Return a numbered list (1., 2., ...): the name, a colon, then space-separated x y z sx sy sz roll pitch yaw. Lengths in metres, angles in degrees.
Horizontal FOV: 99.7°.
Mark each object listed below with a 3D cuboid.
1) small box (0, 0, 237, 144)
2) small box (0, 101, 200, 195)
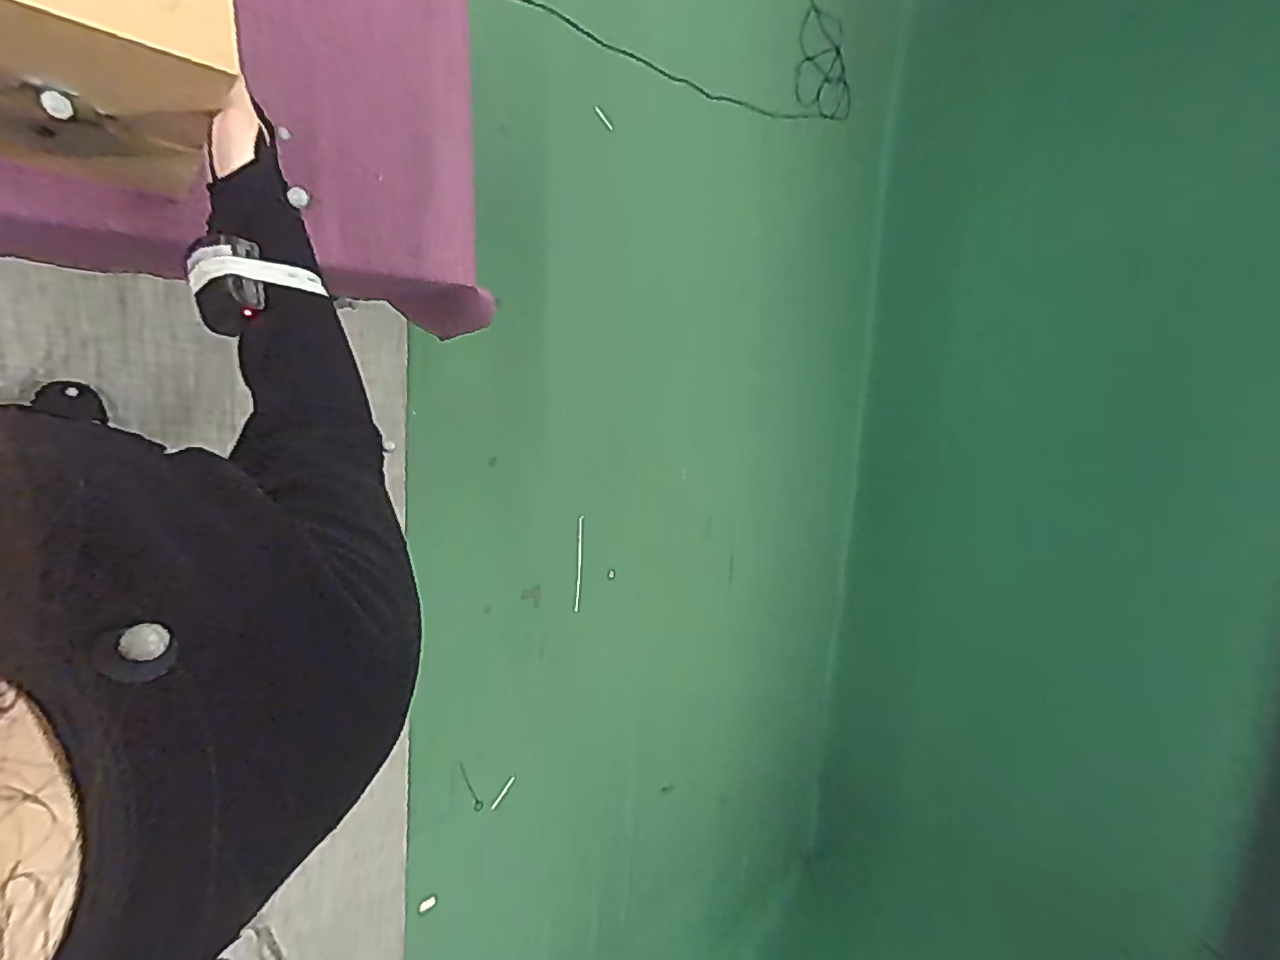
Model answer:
1. small box: -0.383 -0.355 0.345 0.168 0.176 0.179 -10 104 -45
2. small box: -0.501 -0.367 0.461 0.179 0.176 0.168 -6 102 -45
